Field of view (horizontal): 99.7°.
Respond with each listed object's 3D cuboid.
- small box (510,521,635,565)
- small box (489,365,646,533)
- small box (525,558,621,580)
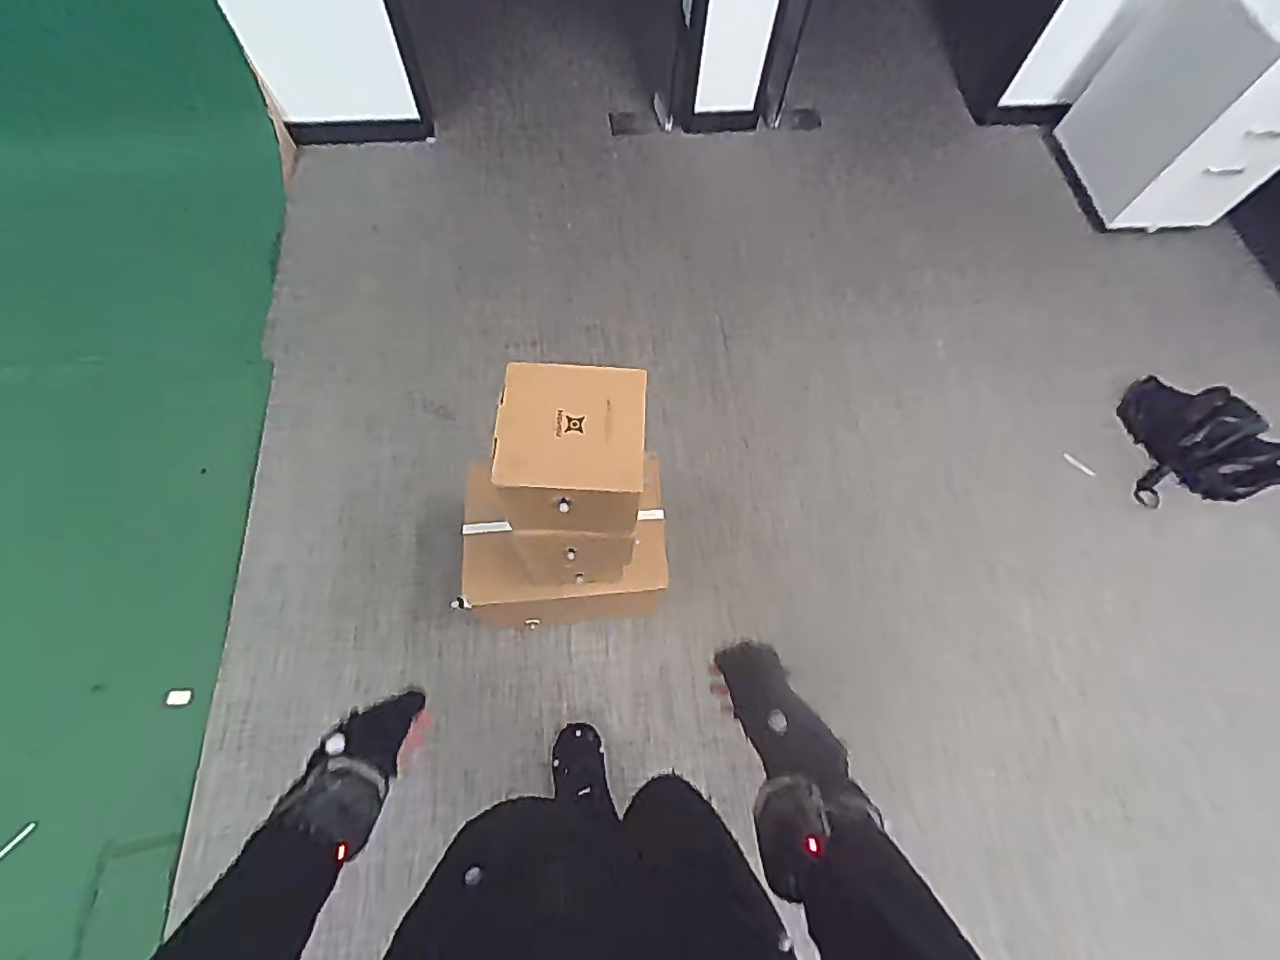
[{"bbox_3d":[-0.099,0.036,0.859,0.179,0.176,0.168,1,68,-3],"label":"small box"},{"bbox_3d":[-0.087,-0.032,0.713,0.179,0.176,0.168,3,69,-4],"label":"small box"},{"bbox_3d":[-0.119,0.089,1.014,0.168,0.176,0.179,-2,69,-4],"label":"small box"}]
